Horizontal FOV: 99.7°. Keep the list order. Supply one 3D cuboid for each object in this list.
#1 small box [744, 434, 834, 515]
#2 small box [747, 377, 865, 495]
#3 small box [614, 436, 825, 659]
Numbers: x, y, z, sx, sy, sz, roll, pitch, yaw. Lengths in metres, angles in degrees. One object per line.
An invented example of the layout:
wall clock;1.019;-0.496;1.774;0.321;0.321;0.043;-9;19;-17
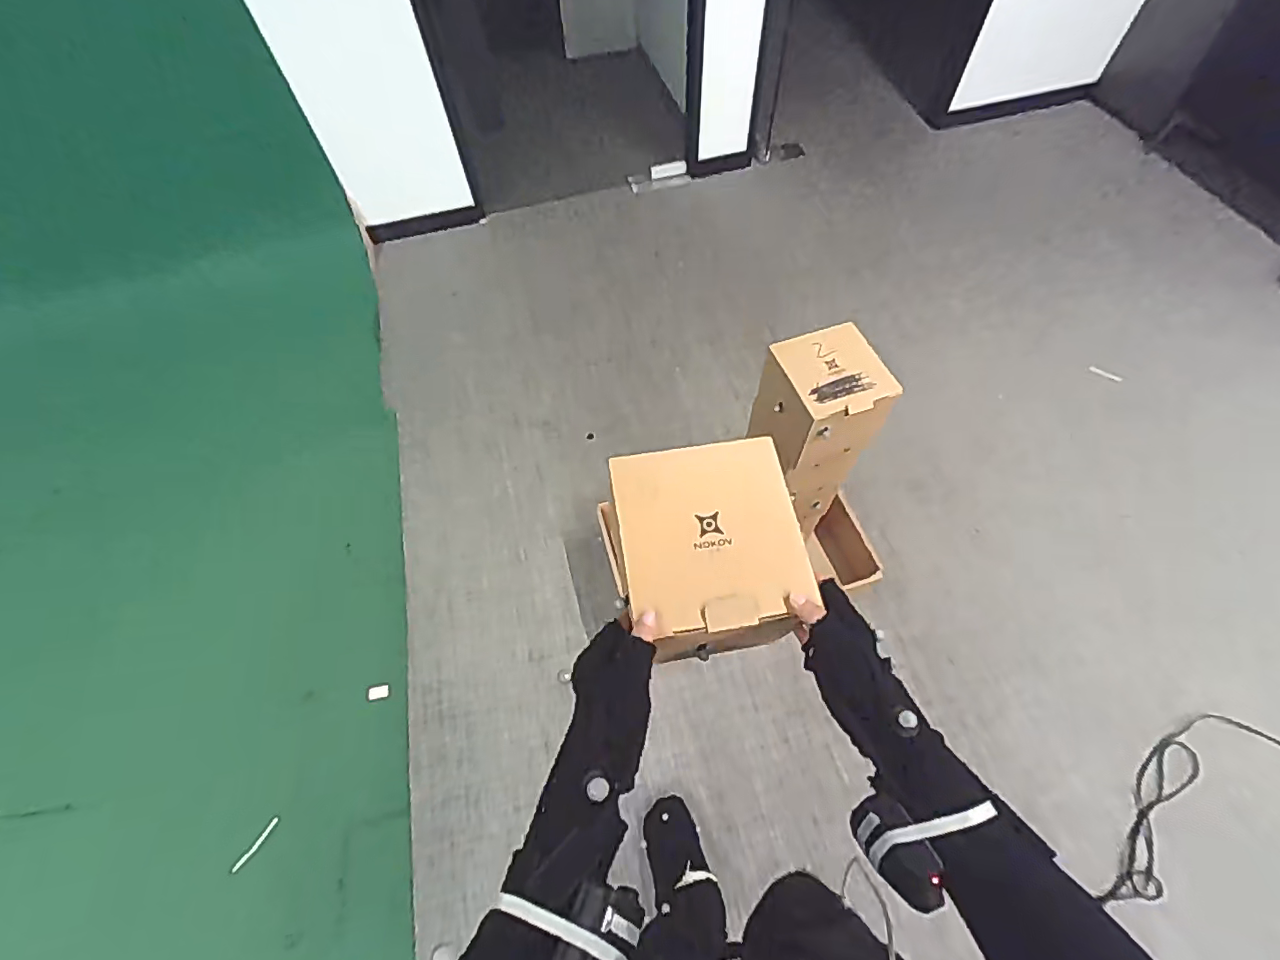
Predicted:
small box;0.344;-0.015;1.269;0.168;0.176;0.179;-16;61;-6
small box;0.338;-0.082;1.138;0.168;0.176;0.179;-15;61;-6
small box;0.064;0.076;0.566;0.168;0.176;0.179;-8;66;-6
